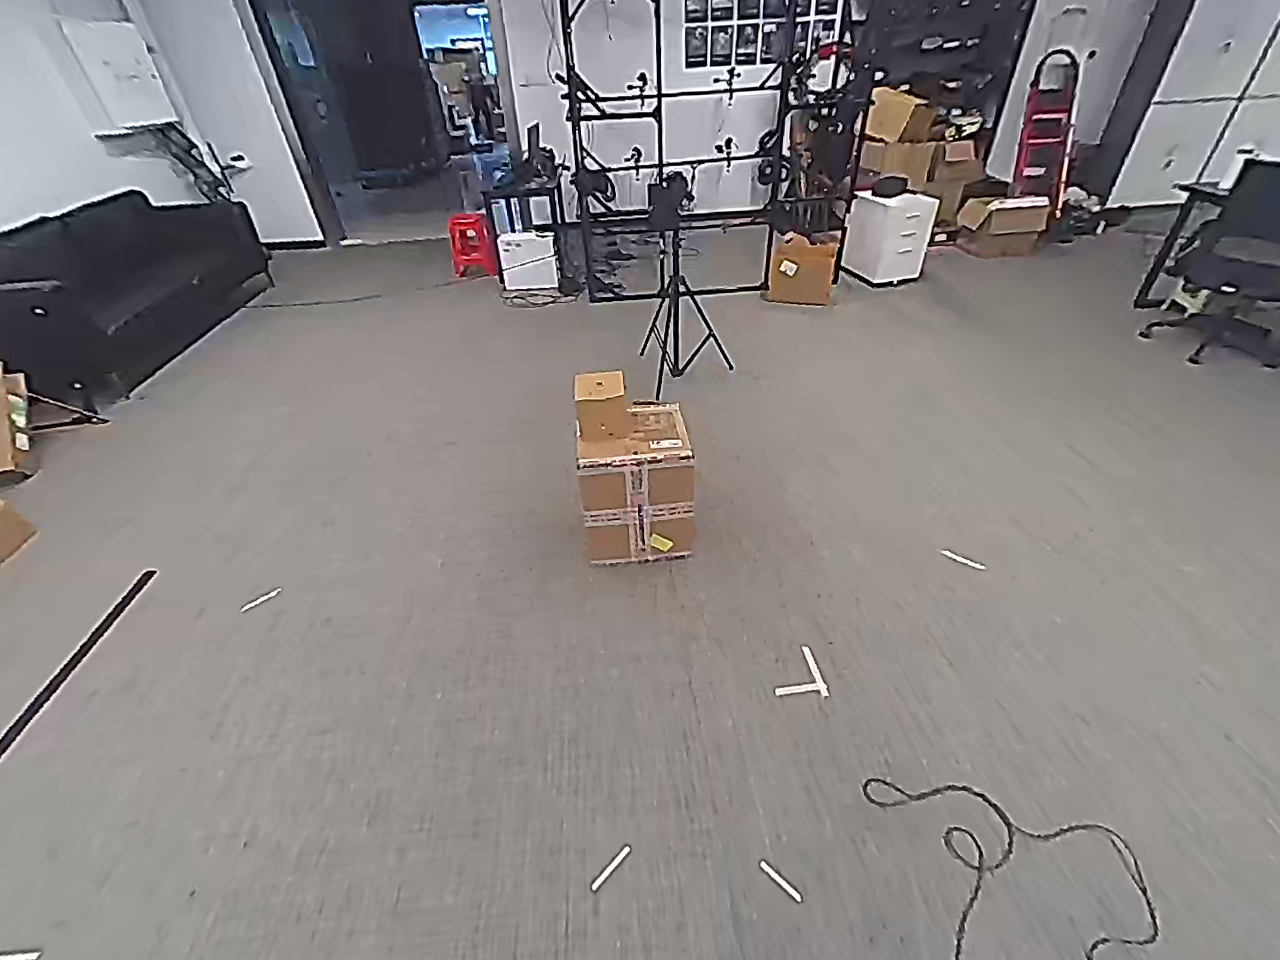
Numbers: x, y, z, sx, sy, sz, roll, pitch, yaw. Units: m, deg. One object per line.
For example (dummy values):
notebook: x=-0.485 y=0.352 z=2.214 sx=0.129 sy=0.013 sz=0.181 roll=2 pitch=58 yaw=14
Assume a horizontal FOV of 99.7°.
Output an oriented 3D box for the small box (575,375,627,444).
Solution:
small box: x=-0.135 y=-0.246 z=1.892 sx=0.168 sy=0.176 sz=0.179 roll=-6 pitch=40 yaw=-1
